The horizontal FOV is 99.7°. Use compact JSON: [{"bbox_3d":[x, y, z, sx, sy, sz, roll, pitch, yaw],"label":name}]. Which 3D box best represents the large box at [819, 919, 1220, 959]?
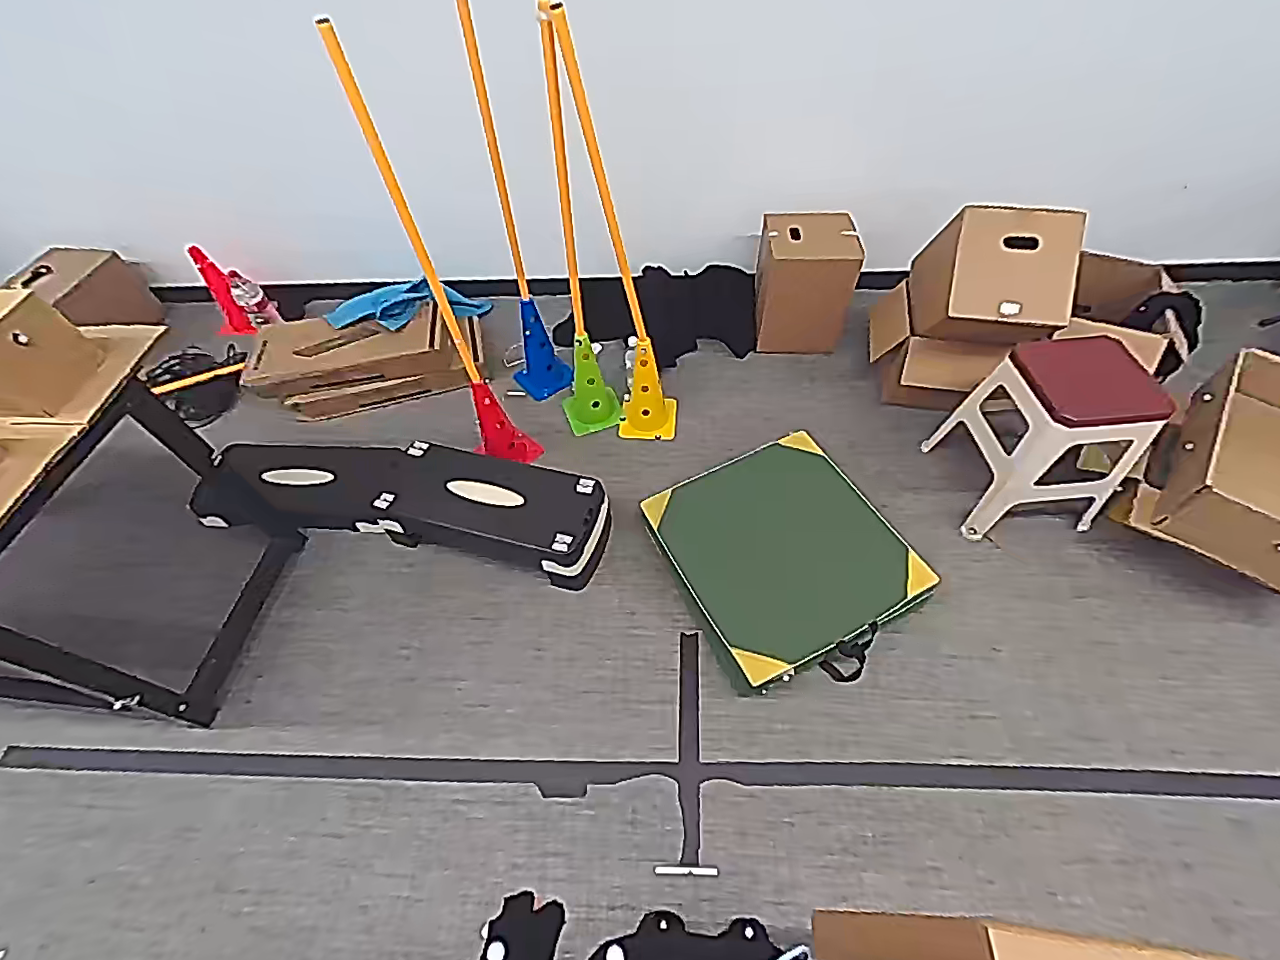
[{"bbox_3d":[0.458,0.738,0.640,0.320,0.408,0.320,11,51,-4],"label":"large box"}]
